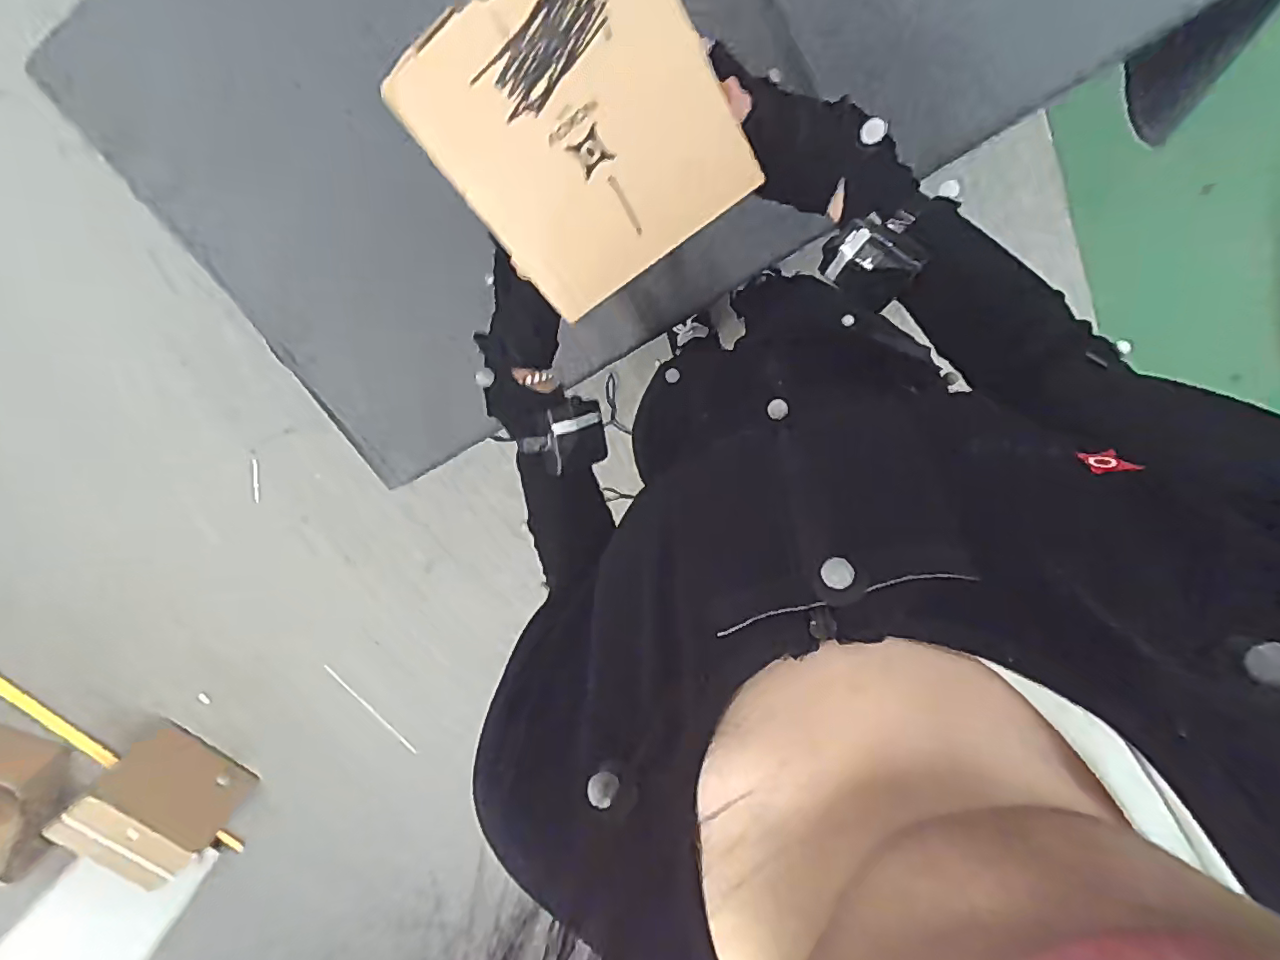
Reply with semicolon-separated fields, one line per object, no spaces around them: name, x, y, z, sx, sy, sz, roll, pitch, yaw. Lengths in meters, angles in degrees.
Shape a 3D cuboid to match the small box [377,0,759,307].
small box;-0.041;-0.265;0.390;0.168;0.176;0.179;-30;123;18
